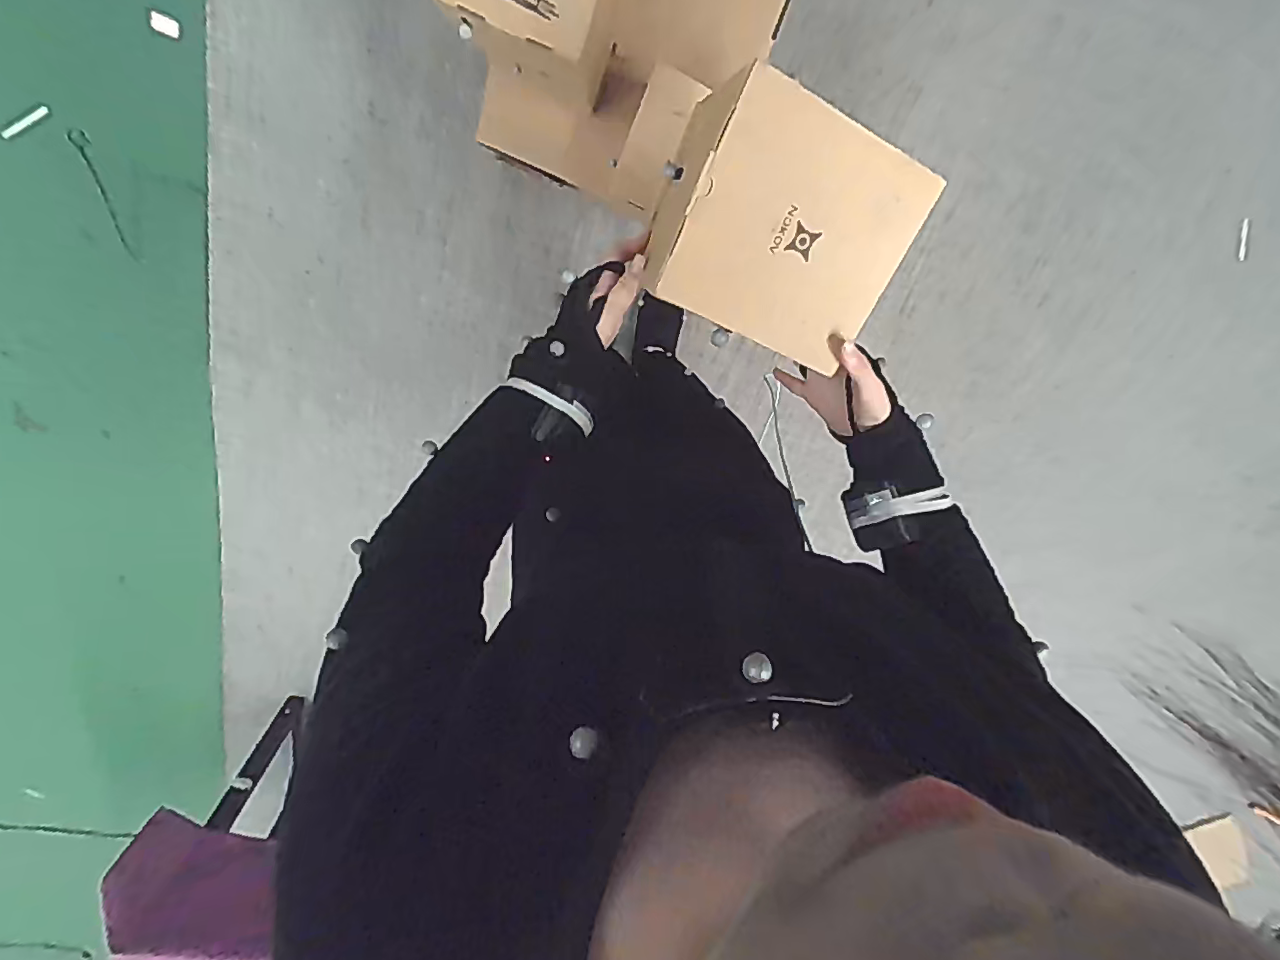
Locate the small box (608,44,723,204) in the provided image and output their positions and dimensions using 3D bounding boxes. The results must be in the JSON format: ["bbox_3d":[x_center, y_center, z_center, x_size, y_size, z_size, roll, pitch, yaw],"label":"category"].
[{"bbox_3d":[0.060,-0.509,0.828,0.168,0.176,0.179,21,114,-14],"label":"small box"}]

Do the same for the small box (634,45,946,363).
[{"bbox_3d":[0.110,-0.230,0.478,0.179,0.176,0.168,20,112,-16],"label":"small box"}]

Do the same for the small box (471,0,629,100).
[{"bbox_3d":[-0.111,-0.667,0.740,0.168,0.176,0.179,21,113,-12],"label":"small box"}]
